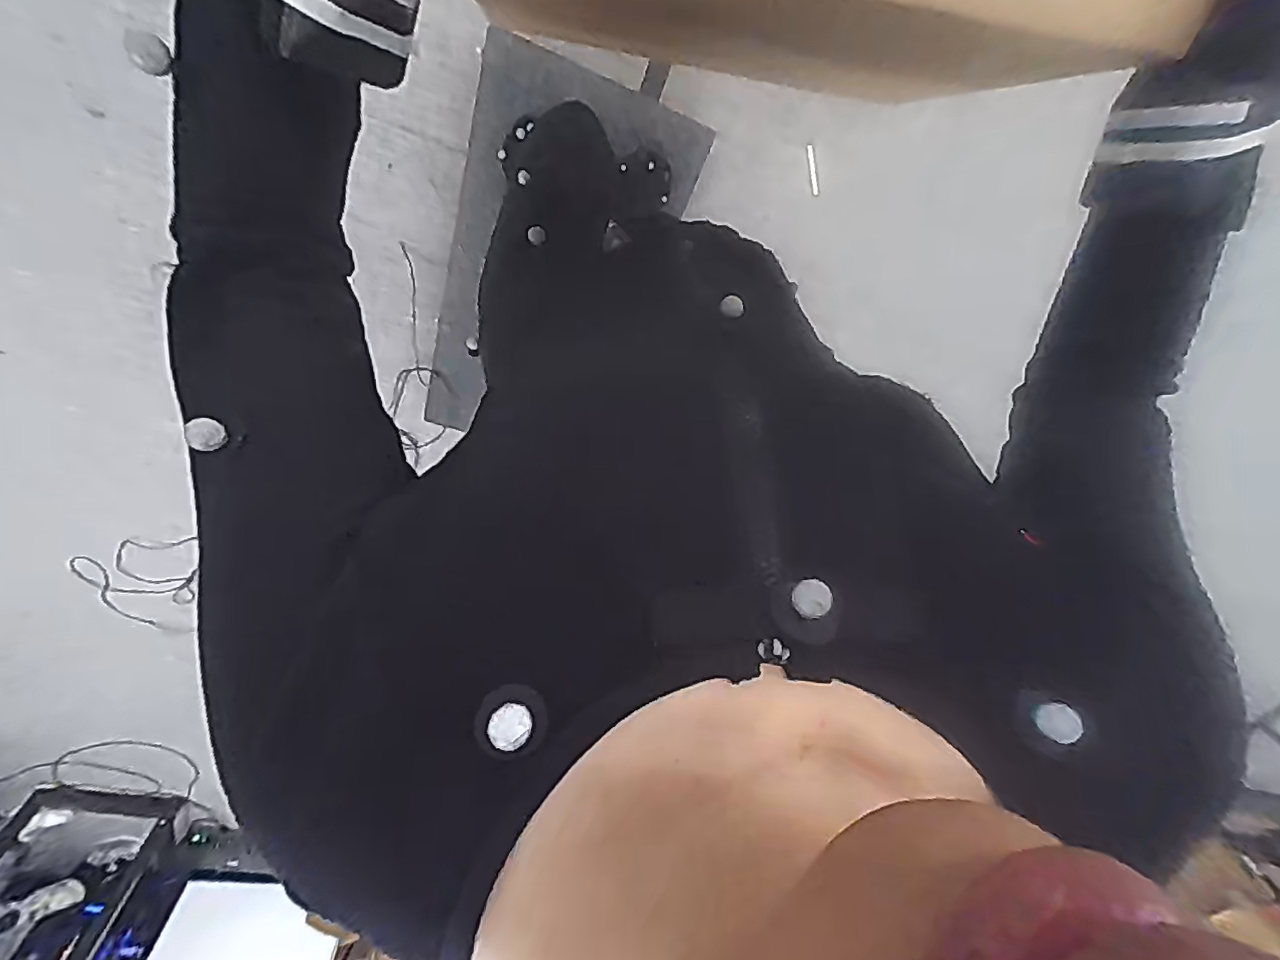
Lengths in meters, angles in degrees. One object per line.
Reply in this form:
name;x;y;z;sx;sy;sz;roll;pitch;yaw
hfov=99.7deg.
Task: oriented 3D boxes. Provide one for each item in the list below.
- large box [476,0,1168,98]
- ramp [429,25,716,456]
large box;0.090;-0.458;0.326;0.408;0.320;0.320;3;121;-9
ramp;-0.238;-0.480;1.404;0.509;0.206;0.991;13;121;-15
